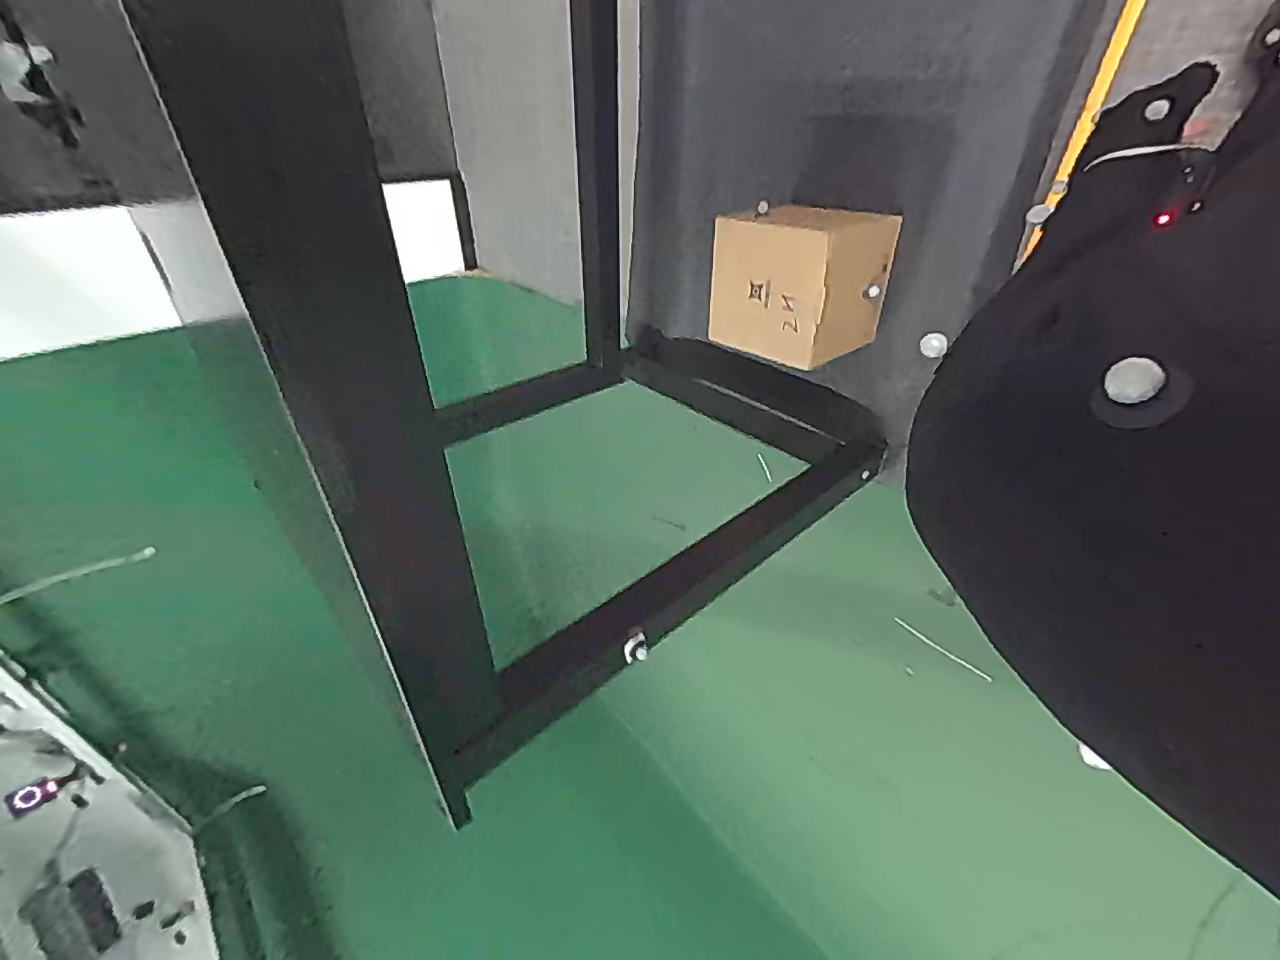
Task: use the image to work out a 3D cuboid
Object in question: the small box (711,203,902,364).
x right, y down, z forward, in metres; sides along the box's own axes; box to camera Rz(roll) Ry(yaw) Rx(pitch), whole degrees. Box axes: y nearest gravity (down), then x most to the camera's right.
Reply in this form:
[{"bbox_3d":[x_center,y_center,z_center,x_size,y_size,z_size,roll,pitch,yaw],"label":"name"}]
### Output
[{"bbox_3d":[0.222,-0.278,0.743,0.179,0.176,0.168,31,135,39],"label":"small box"}]
